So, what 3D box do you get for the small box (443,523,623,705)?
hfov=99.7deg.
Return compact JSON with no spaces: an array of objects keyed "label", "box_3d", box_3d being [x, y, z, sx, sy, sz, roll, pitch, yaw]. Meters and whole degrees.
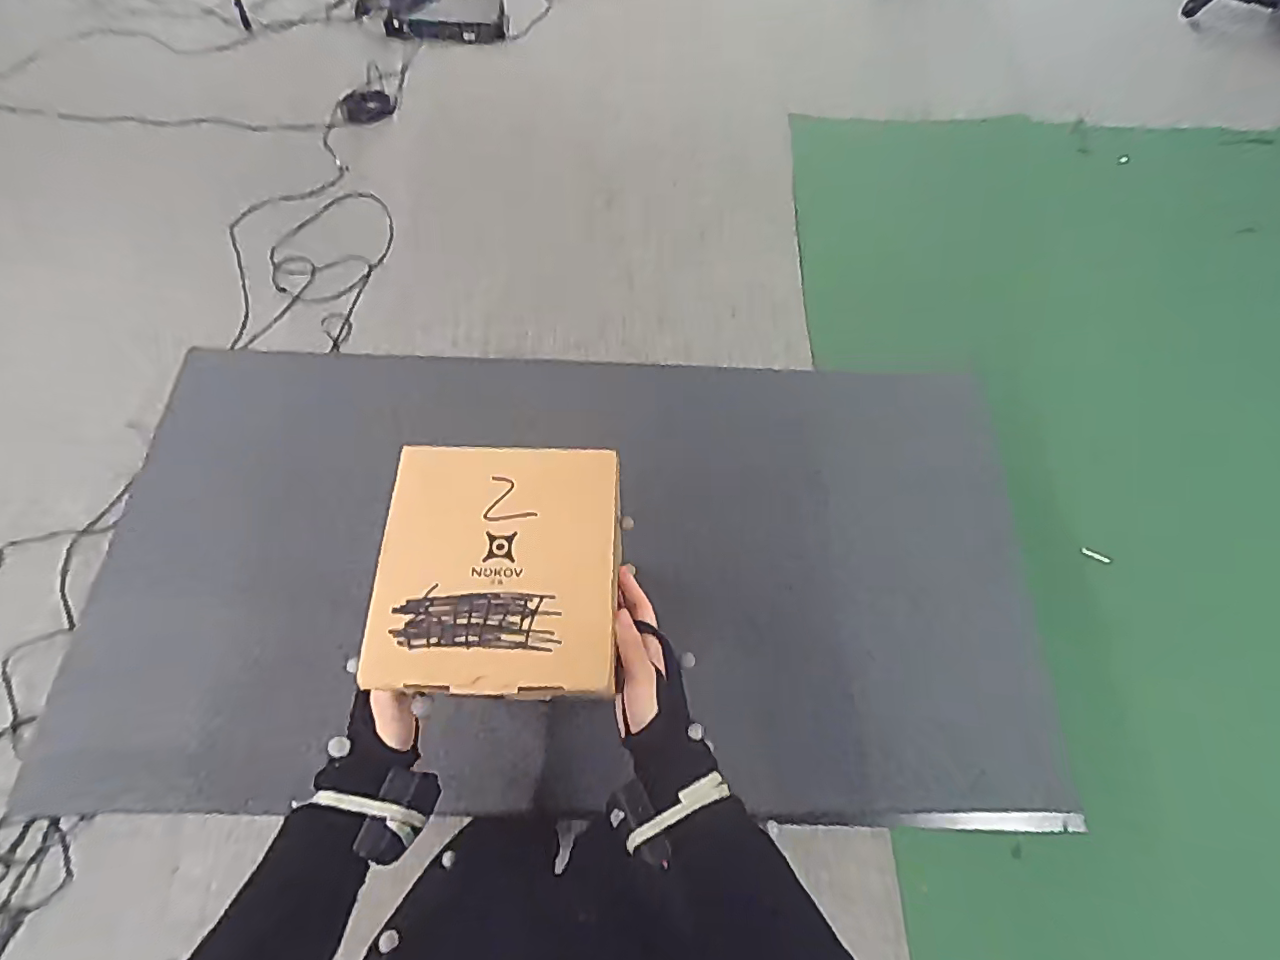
[{"label":"small box","box_3d":[-0.104,0.157,0.610,0.168,0.176,0.179,0,68,-1]}]
